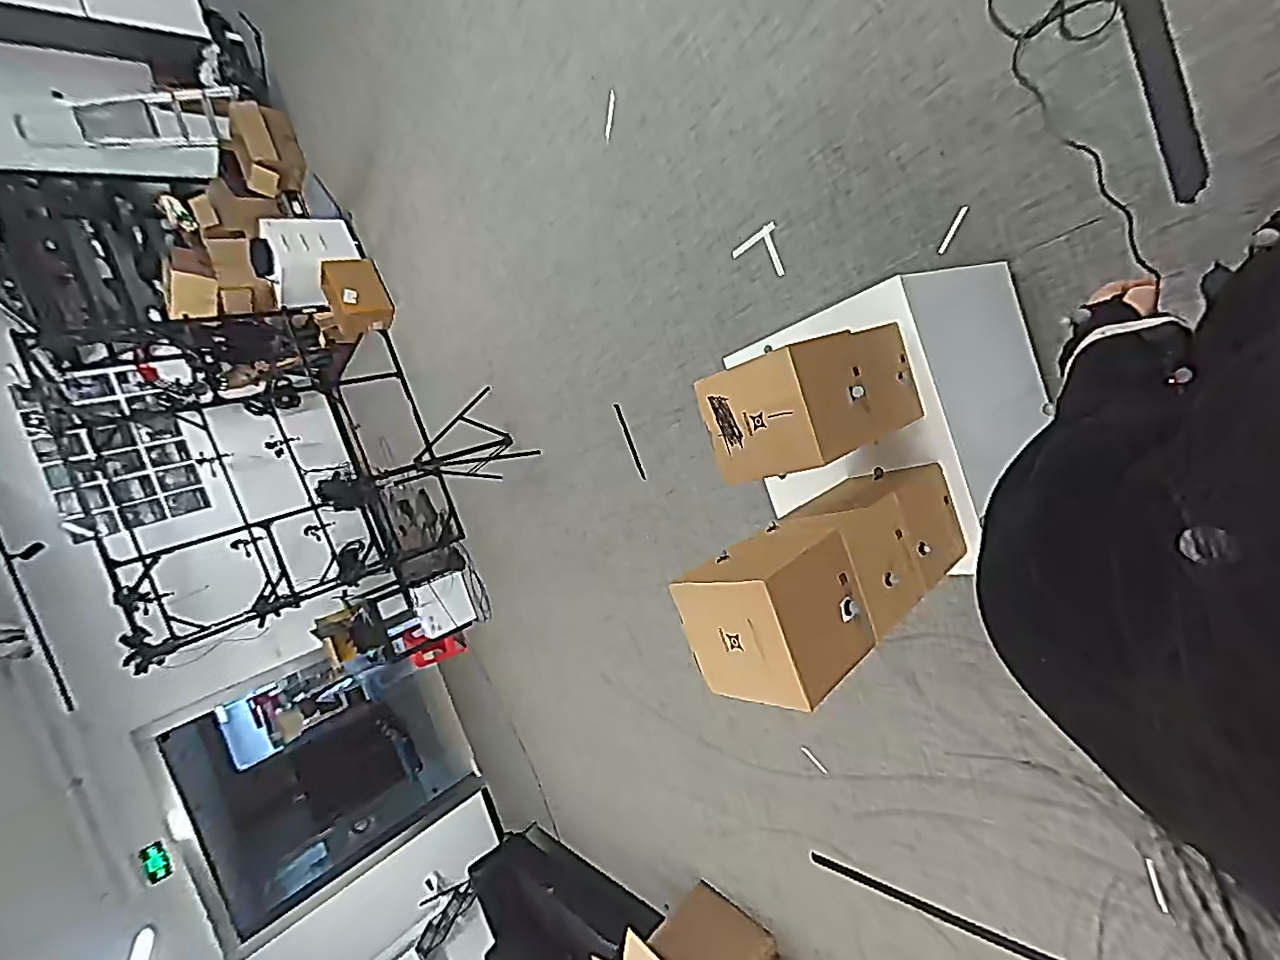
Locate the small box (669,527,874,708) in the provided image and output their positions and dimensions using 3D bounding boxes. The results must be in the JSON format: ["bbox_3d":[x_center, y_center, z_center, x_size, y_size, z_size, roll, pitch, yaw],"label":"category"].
[{"bbox_3d":[0.175,0.173,0.723,0.179,0.176,0.168,-18,94,52],"label":"small box"}]

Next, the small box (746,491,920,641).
[{"bbox_3d":[0.296,0.126,0.820,0.179,0.176,0.168,-17,94,53],"label":"small box"}]

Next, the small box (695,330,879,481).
[{"bbox_3d":[0.217,-0.108,0.798,0.179,0.176,0.168,-13,98,51],"label":"small box"}]

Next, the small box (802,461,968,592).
[{"bbox_3d":[0.415,0.079,0.919,0.179,0.176,0.168,-15,97,54],"label":"small box"}]
